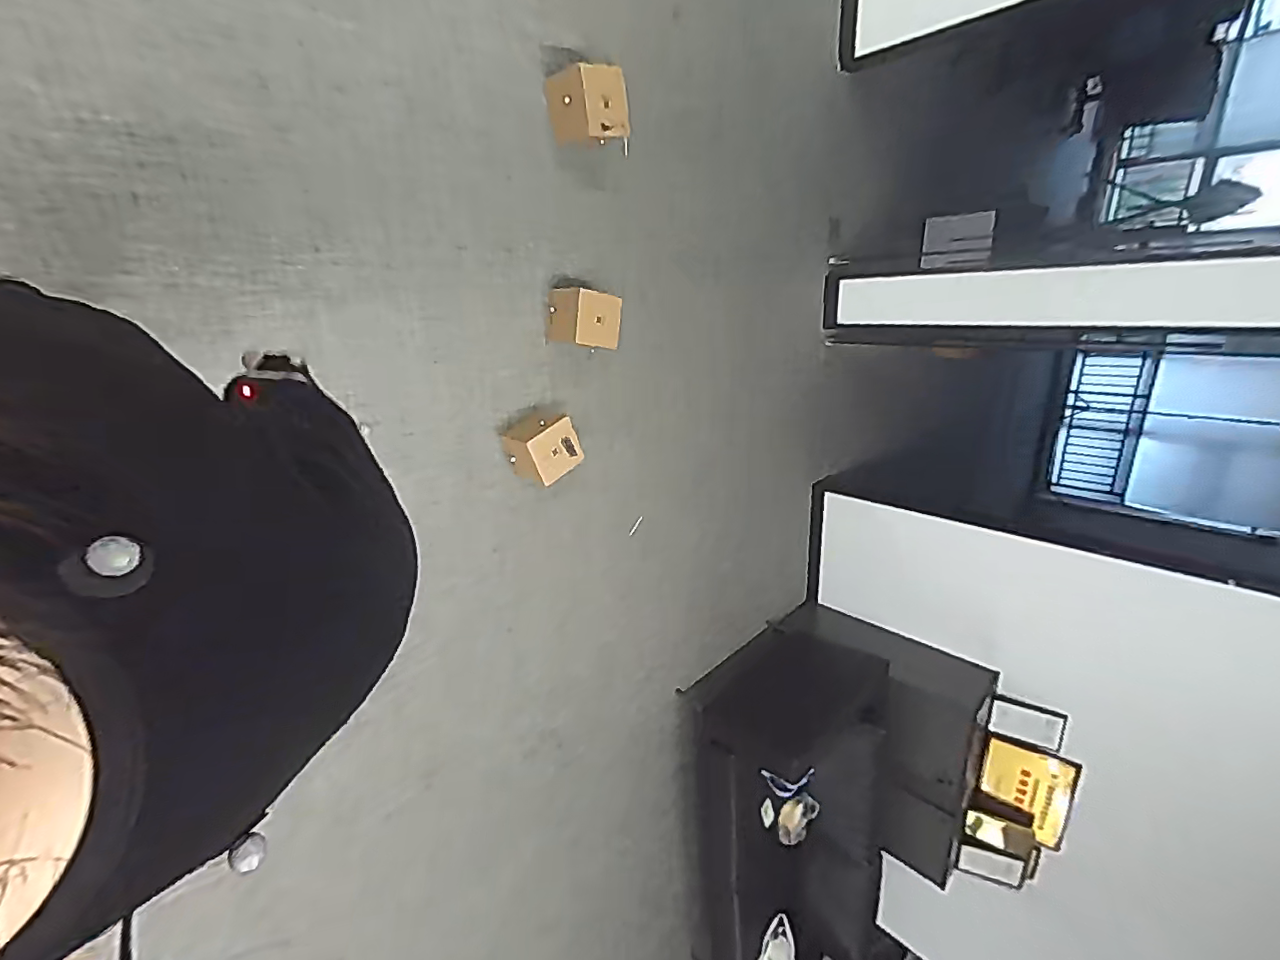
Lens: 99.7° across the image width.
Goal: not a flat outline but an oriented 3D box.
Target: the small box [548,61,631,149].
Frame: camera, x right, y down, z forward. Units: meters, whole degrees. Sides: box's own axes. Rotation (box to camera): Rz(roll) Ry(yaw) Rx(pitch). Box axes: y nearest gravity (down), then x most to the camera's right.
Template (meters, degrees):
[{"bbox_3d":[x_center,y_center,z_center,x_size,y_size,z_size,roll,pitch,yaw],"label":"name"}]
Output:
[{"bbox_3d":[-0.153,-1.105,1.604,0.168,0.176,0.179,-28,120,-37],"label":"small box"}]

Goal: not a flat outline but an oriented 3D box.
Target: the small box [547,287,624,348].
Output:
[{"bbox_3d":[-0.178,-0.525,1.753,0.179,0.176,0.168,-3,104,-45],"label":"small box"}]

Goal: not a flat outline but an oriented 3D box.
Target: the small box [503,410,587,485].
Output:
[{"bbox_3d":[-0.307,-0.112,1.744,0.179,0.176,0.168,-40,127,-30],"label":"small box"}]
